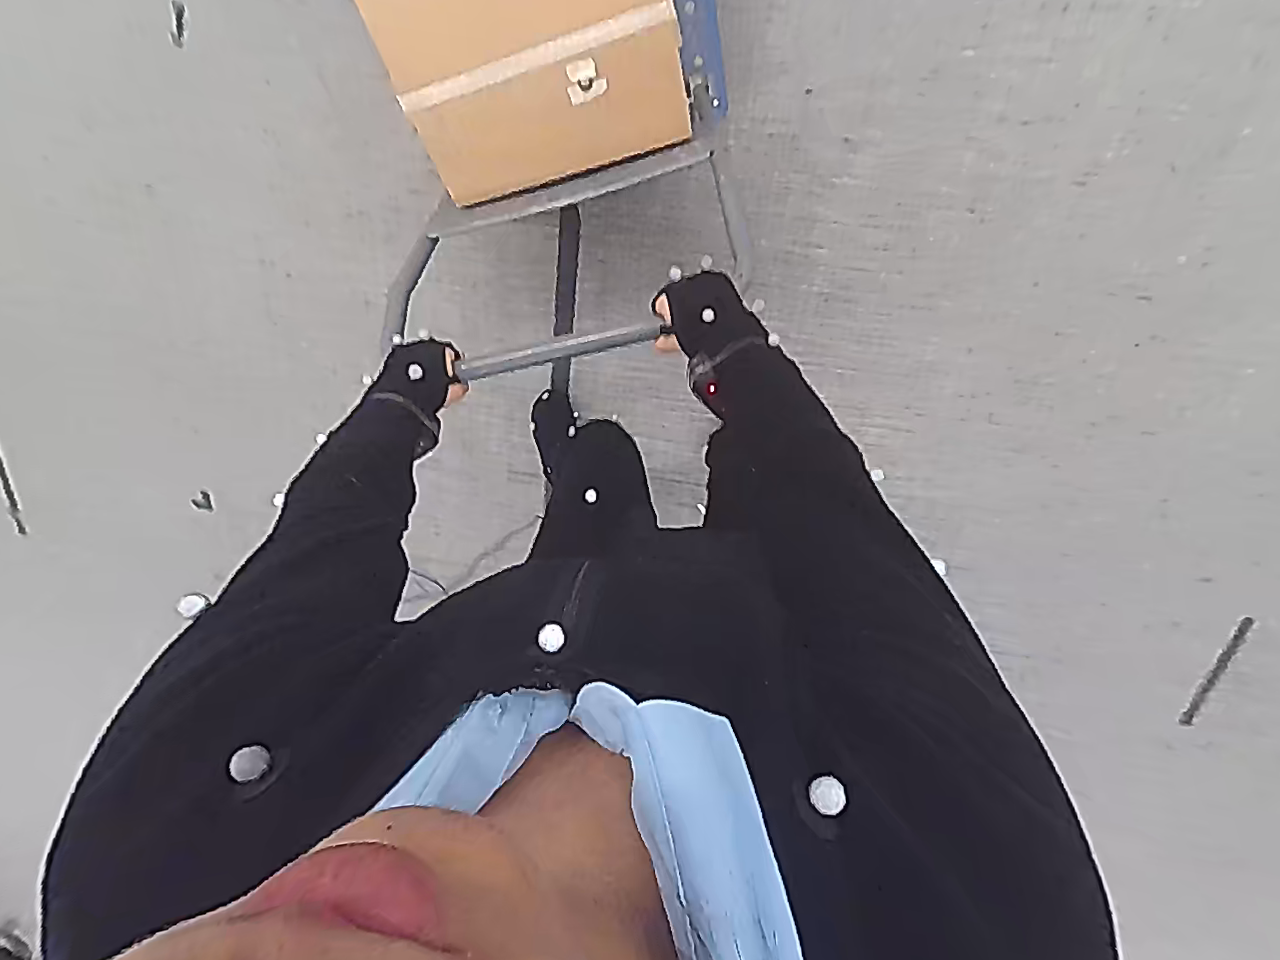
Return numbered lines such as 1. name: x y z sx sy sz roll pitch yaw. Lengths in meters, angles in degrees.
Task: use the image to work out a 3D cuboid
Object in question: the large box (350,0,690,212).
1. large box: -0.157 -0.689 0.857 0.408 0.320 0.320 -12 135 11
